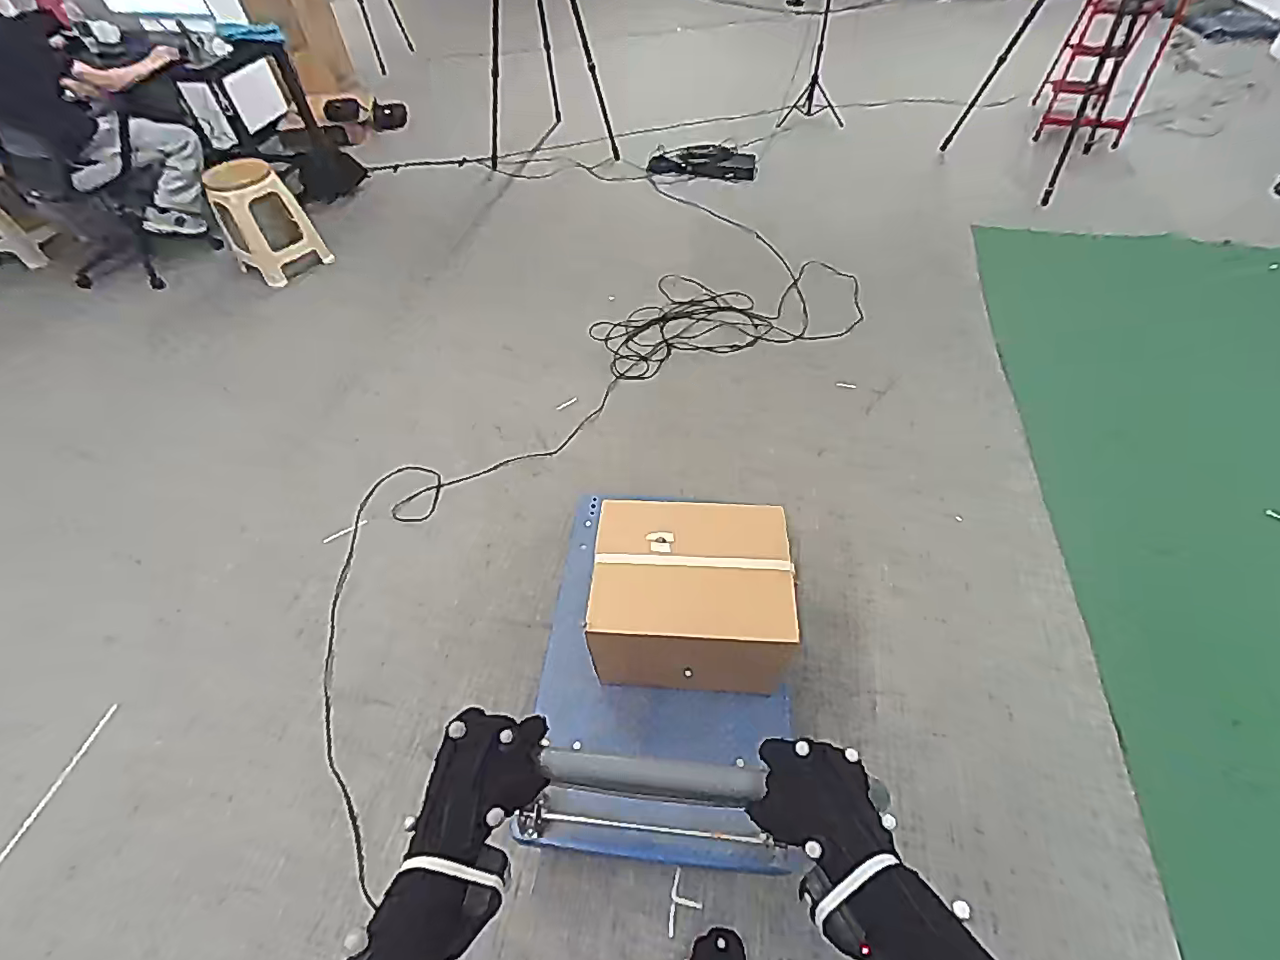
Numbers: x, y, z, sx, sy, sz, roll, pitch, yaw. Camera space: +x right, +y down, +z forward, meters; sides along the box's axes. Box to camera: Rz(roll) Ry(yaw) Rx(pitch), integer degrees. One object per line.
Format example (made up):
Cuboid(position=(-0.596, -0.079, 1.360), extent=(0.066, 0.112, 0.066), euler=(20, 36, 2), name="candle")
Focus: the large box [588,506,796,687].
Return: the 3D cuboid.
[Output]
Cuboid(position=(0.115, 0.270, 1.236), extent=(0.408, 0.320, 0.320), euler=(1, 51, 5), name="large box")
